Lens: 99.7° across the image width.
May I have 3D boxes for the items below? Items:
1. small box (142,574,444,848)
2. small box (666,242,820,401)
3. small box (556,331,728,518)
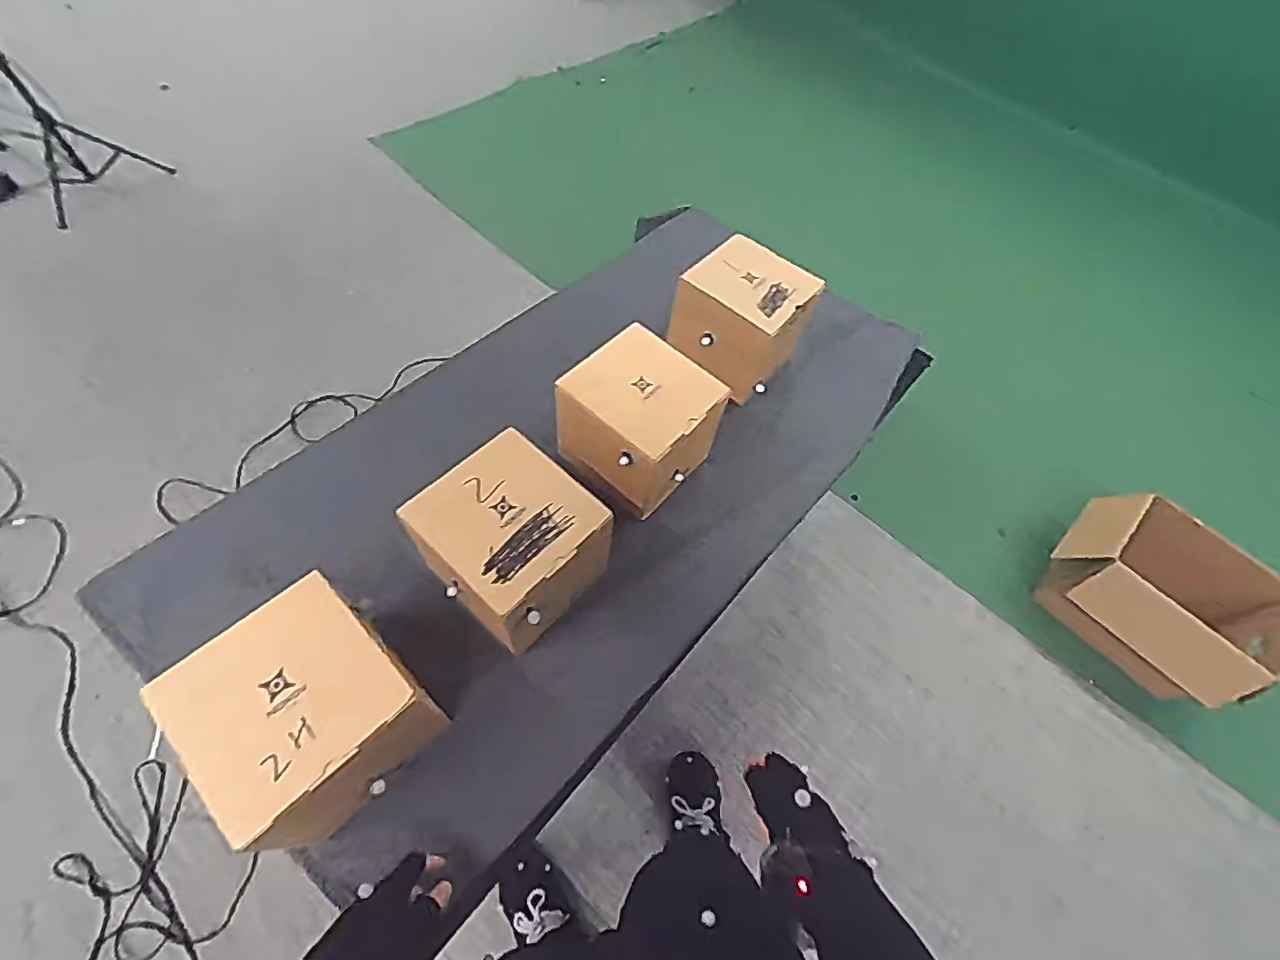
[{"bbox_3d":[-0.330,0.235,0.549,0.179,0.176,0.168,41,62,18],"label":"small box"},{"bbox_3d":[0.165,-0.259,0.918,0.179,0.176,0.168,38,62,16],"label":"small box"},{"bbox_3d":[-0.006,-0.075,0.788,0.179,0.176,0.168,39,61,15],"label":"small box"}]
